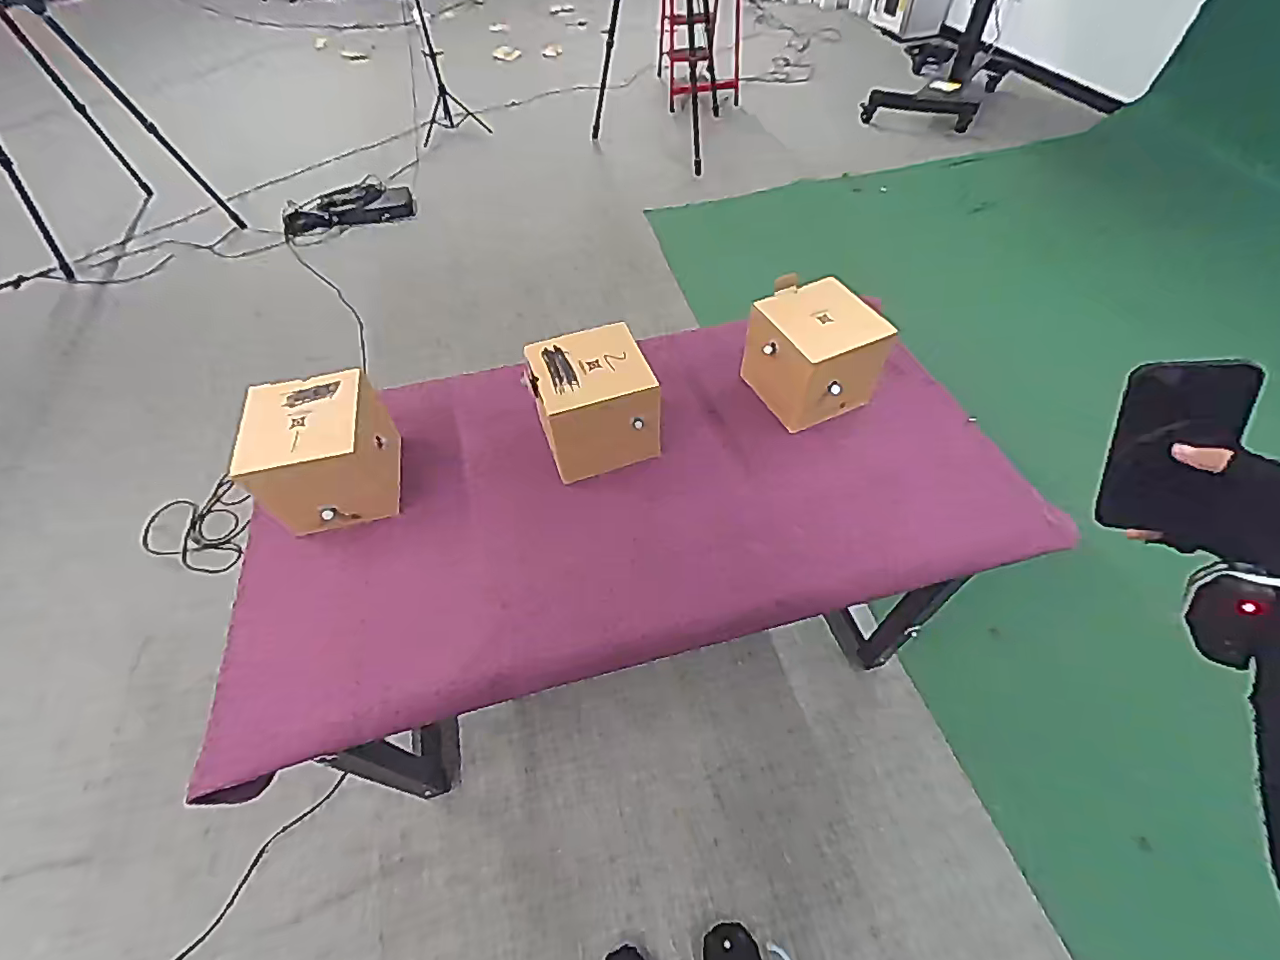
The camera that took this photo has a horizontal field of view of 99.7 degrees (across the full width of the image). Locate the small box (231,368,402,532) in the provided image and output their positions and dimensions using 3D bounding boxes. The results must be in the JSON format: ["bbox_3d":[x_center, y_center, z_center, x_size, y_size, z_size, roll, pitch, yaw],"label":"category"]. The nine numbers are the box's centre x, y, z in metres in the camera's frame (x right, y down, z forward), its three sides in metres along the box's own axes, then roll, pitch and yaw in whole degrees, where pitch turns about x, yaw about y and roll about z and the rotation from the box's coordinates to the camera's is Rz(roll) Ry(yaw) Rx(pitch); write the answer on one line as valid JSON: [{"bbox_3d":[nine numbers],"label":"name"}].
[{"bbox_3d":[-0.487,-0.044,0.845,0.168,0.176,0.179,-12,56,-7],"label":"small box"}]

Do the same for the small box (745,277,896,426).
[{"bbox_3d":[0.302,-0.216,0.945,0.168,0.176,0.179,-22,55,-13],"label":"small box"}]
